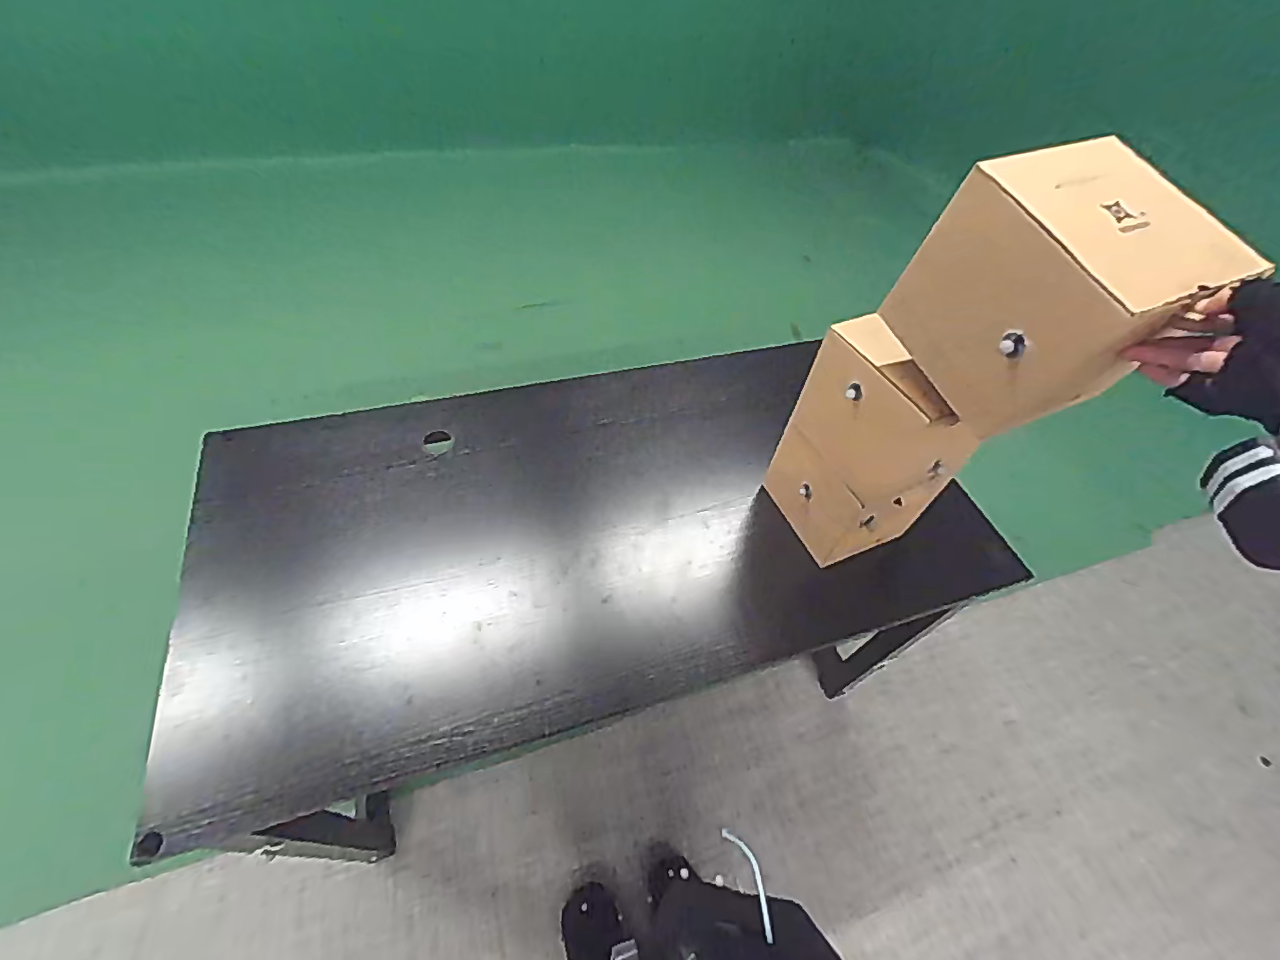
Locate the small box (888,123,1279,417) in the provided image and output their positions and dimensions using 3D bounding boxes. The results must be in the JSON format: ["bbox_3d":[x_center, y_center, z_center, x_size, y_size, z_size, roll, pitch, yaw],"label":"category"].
[{"bbox_3d":[0.368,-0.175,0.485,0.168,0.176,0.179,-18,66,-16],"label":"small box"}]

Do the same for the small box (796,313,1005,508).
[{"bbox_3d":[0.332,-0.095,0.700,0.168,0.176,0.179,-19,57,-19],"label":"small box"}]
